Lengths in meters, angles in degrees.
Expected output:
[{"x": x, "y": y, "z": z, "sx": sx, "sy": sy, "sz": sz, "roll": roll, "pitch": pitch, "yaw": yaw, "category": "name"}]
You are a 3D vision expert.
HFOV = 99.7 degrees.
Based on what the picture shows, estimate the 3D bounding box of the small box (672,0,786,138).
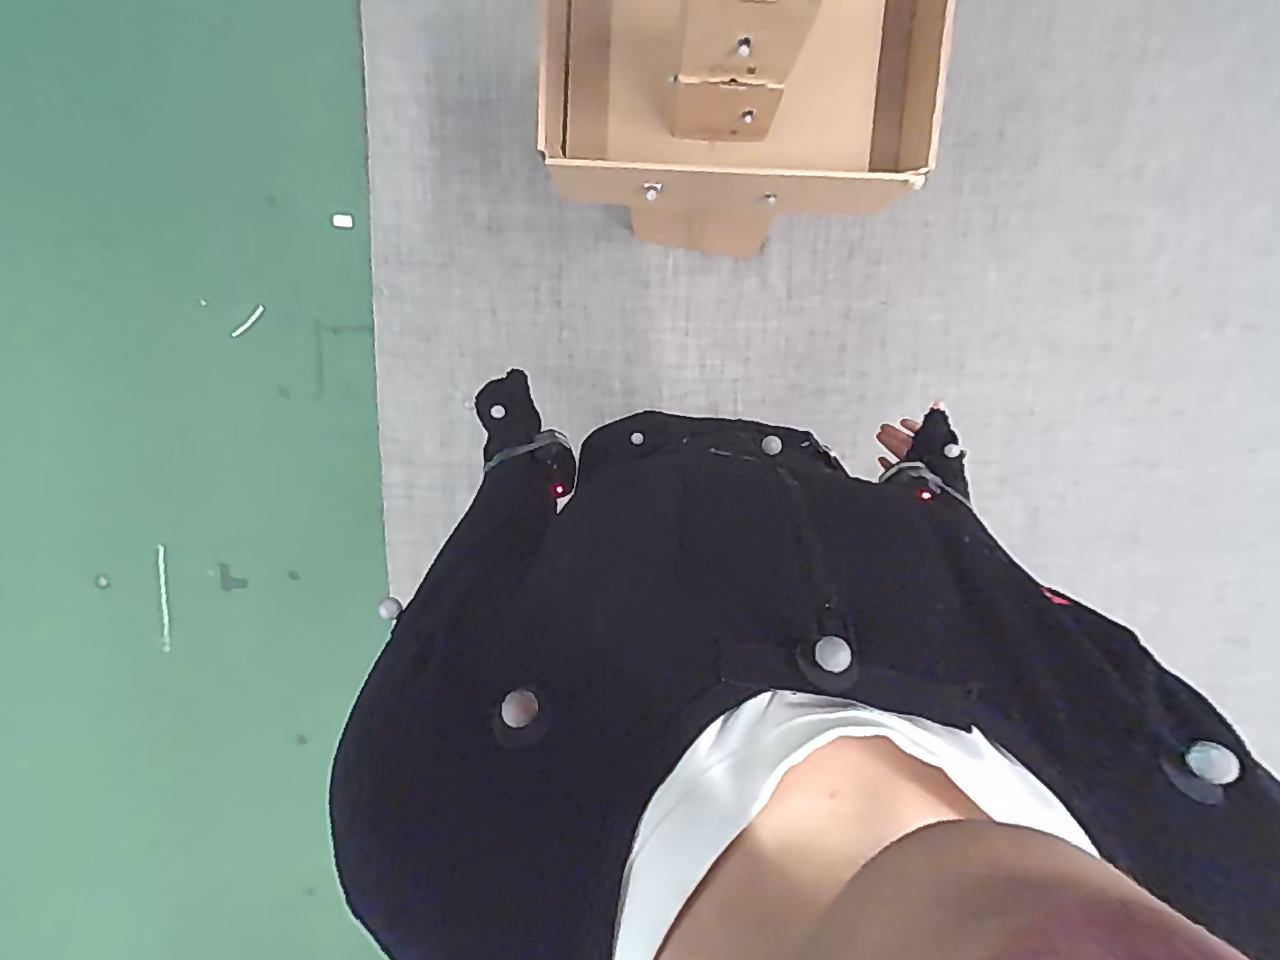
[{"x": 0.141, "y": -0.686, "z": 0.876, "sx": 0.168, "sy": 0.176, "sz": 0.179, "roll": 2, "pitch": 95, "yaw": 0, "category": "small box"}]

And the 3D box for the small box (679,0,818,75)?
[{"x": 0.142, "y": -0.675, "z": 0.713, "sx": 0.168, "sy": 0.176, "sz": 0.179, "roll": 3, "pitch": 98, "yaw": -1, "category": "small box"}]
